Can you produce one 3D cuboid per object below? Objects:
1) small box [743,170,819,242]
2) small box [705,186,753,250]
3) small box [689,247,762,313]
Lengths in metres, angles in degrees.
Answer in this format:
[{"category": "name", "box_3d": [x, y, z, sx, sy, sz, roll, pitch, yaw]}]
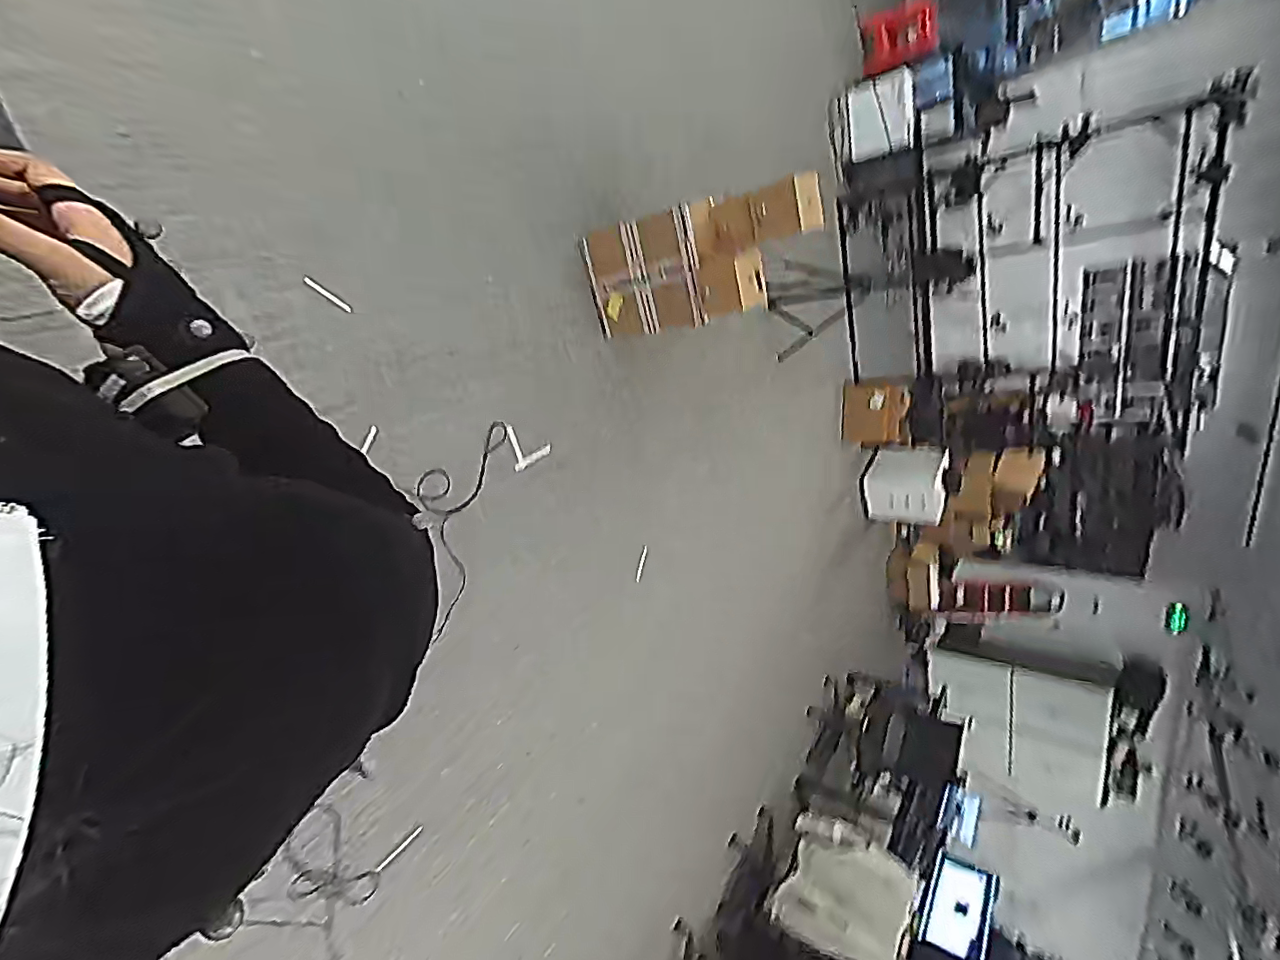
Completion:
[{"category": "small box", "box_3d": [0.462, -0.897, 1.771, 0.179, 0.176, 0.168, -35, 117, -40]}, {"category": "small box", "box_3d": [0.352, -0.919, 1.891, 0.179, 0.176, 0.168, -35, 117, -41]}, {"category": "small box", "box_3d": [0.292, -0.680, 1.843, 0.179, 0.176, 0.168, -37, 120, -40]}]
